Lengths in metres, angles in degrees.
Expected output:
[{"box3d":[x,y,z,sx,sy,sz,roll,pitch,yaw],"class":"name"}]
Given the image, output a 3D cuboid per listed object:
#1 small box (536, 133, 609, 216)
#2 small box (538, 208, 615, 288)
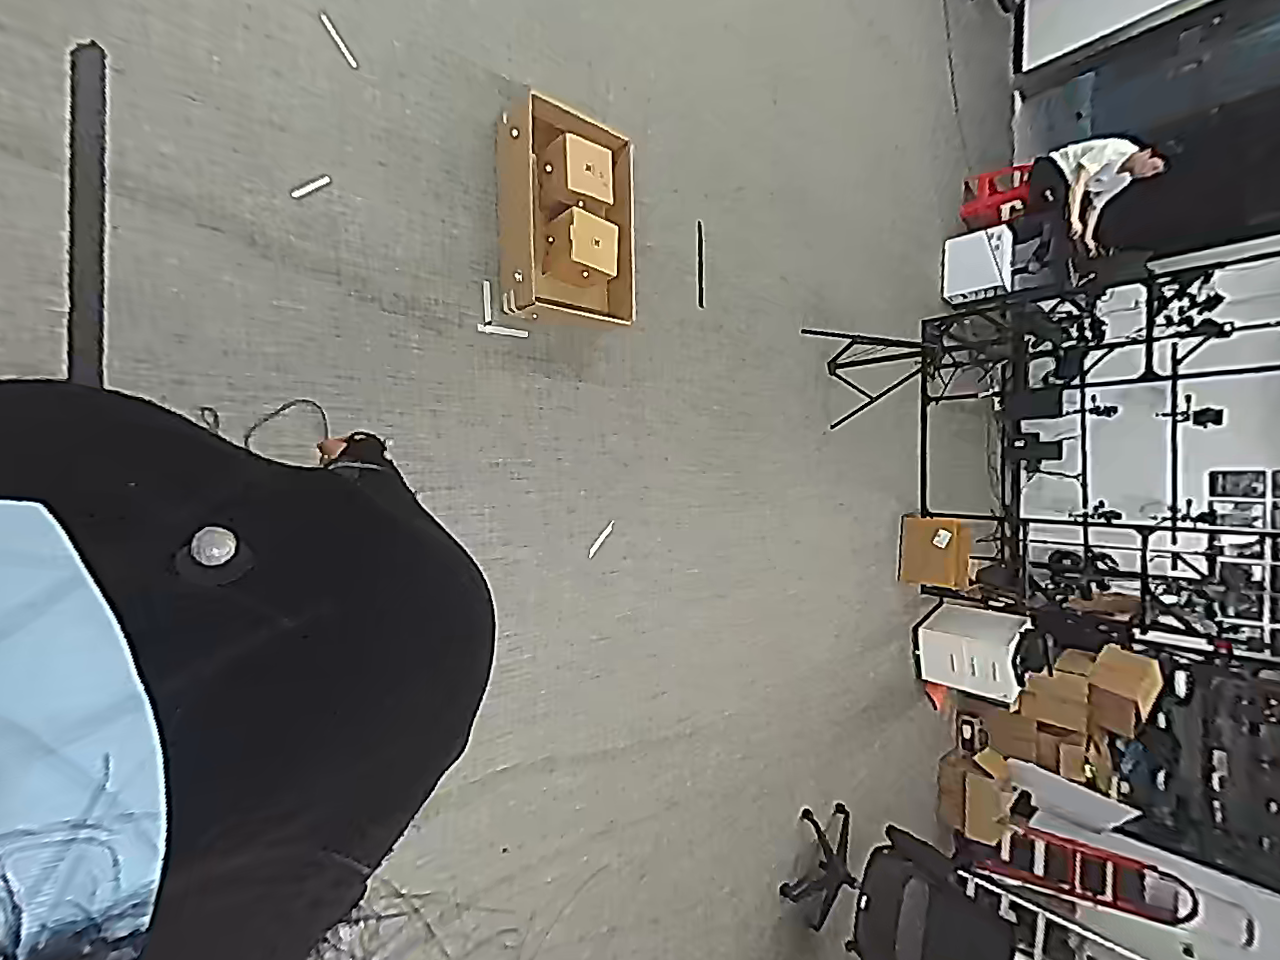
[{"box3d":[-0.219,-0.949,1.709,0.179,0.176,0.168,-5,95,-43],"class":"small box"},{"box3d":[-0.204,-0.733,1.730,0.179,0.176,0.168,5,87,-42],"class":"small box"}]
